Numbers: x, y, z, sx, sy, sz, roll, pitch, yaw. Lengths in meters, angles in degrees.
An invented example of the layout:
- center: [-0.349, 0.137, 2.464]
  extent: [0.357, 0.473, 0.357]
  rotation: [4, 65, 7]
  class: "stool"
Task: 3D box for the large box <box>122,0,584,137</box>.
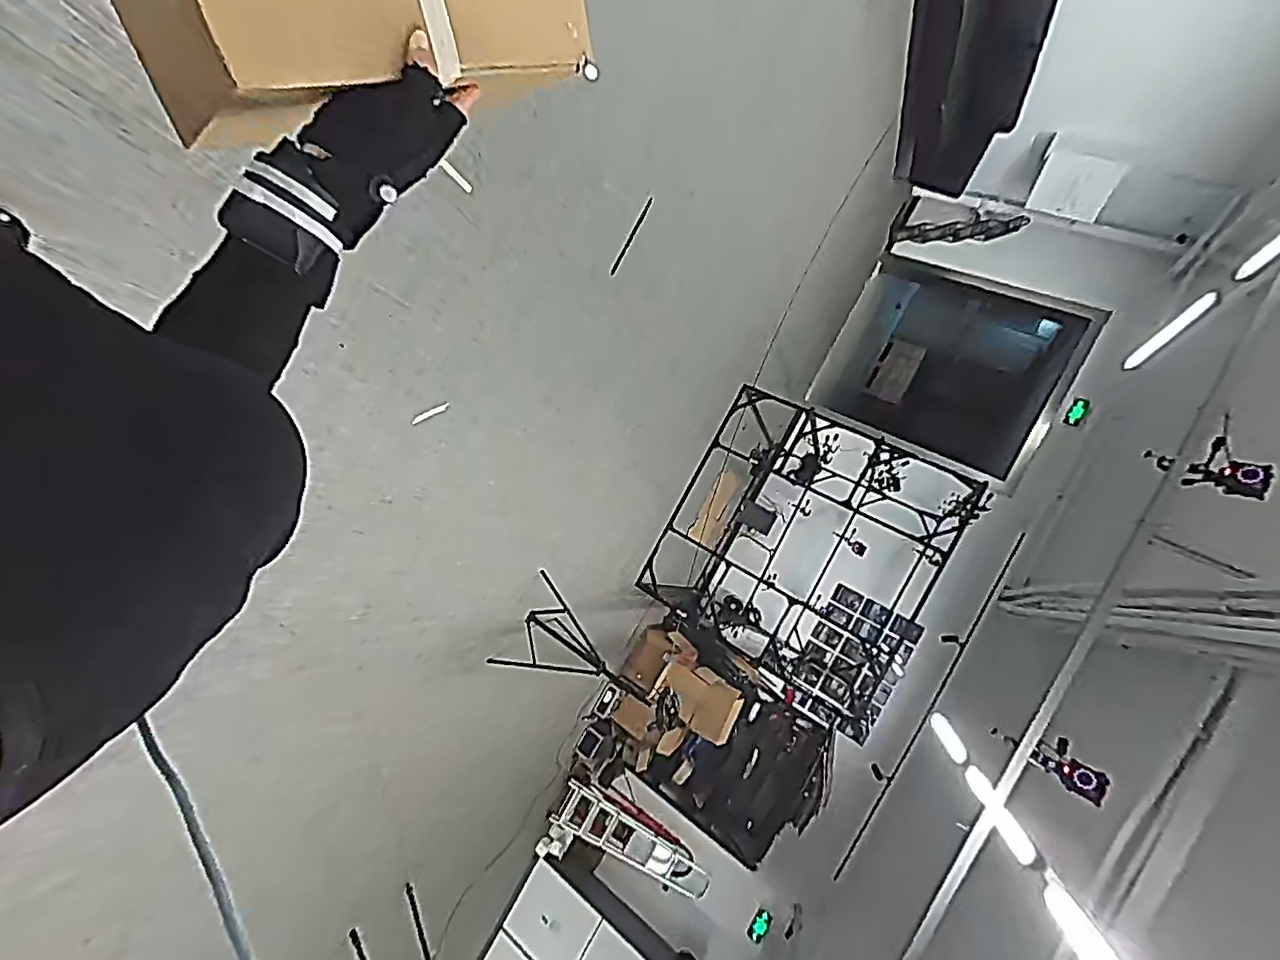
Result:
- center: [-0.296, -0.552, 0.449]
  extent: [0.320, 0.320, 0.408]
  rotation: [-32, 128, -31]
  class: "large box"
